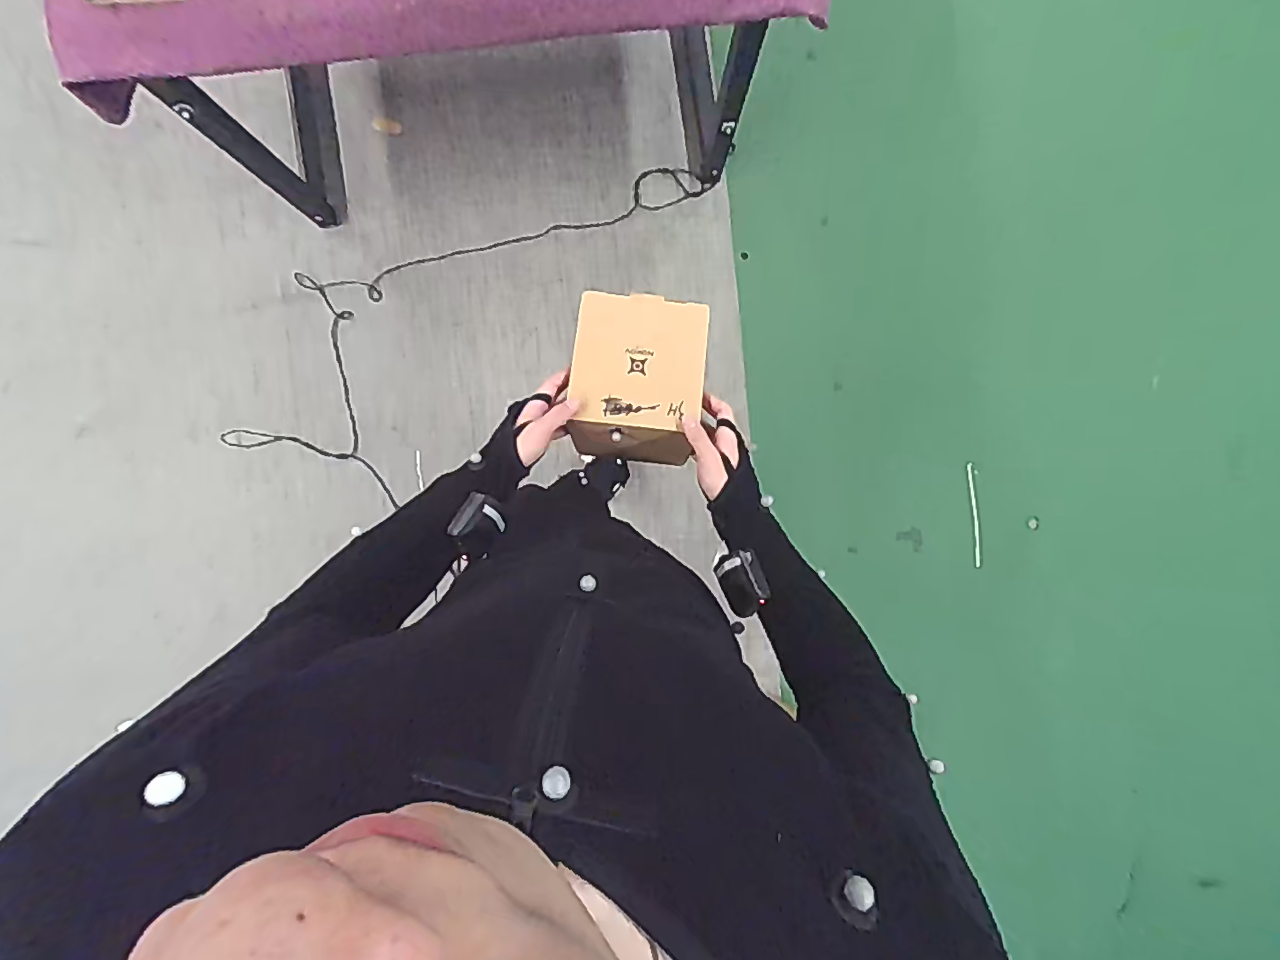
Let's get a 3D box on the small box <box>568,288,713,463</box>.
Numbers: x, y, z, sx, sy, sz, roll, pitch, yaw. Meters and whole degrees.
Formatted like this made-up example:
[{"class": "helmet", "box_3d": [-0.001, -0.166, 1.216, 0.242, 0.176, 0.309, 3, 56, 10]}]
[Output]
[{"class": "small box", "box_3d": [0.000, -0.134, 0.746, 0.168, 0.176, 0.179, 6, 79, 0]}]
